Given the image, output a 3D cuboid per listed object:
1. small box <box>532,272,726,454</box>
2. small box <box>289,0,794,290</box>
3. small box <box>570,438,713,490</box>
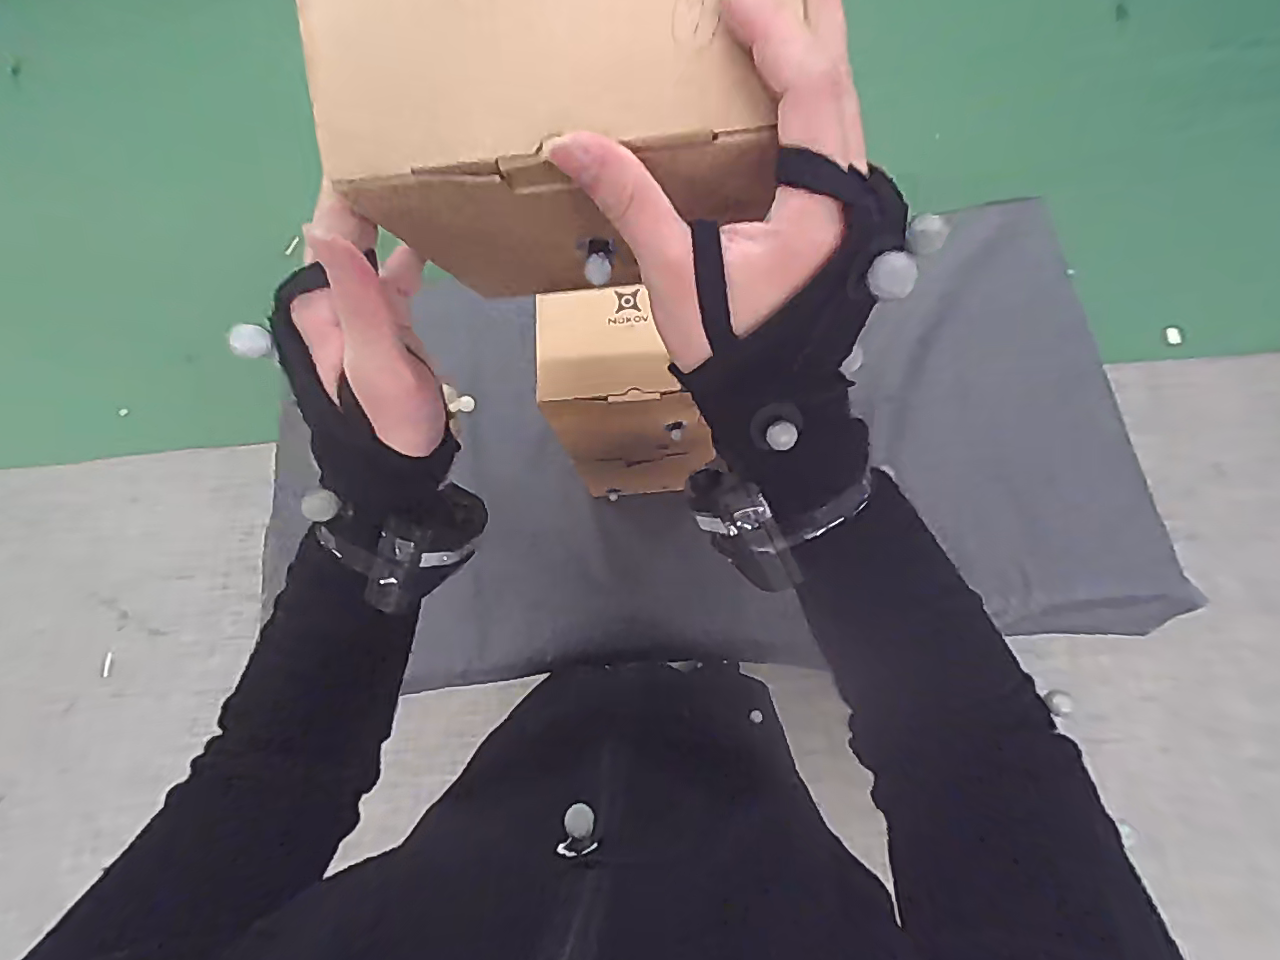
[{"bbox_3d":[-0.009,-0.131,0.547,0.168,0.176,0.179,-5,74,1],"label":"small box"},{"bbox_3d":[-0.032,-0.196,0.251,0.168,0.176,0.179,-5,95,3],"label":"small box"},{"bbox_3d":[0.002,-0.089,0.703,0.168,0.176,0.179,-5,74,2],"label":"small box"}]
